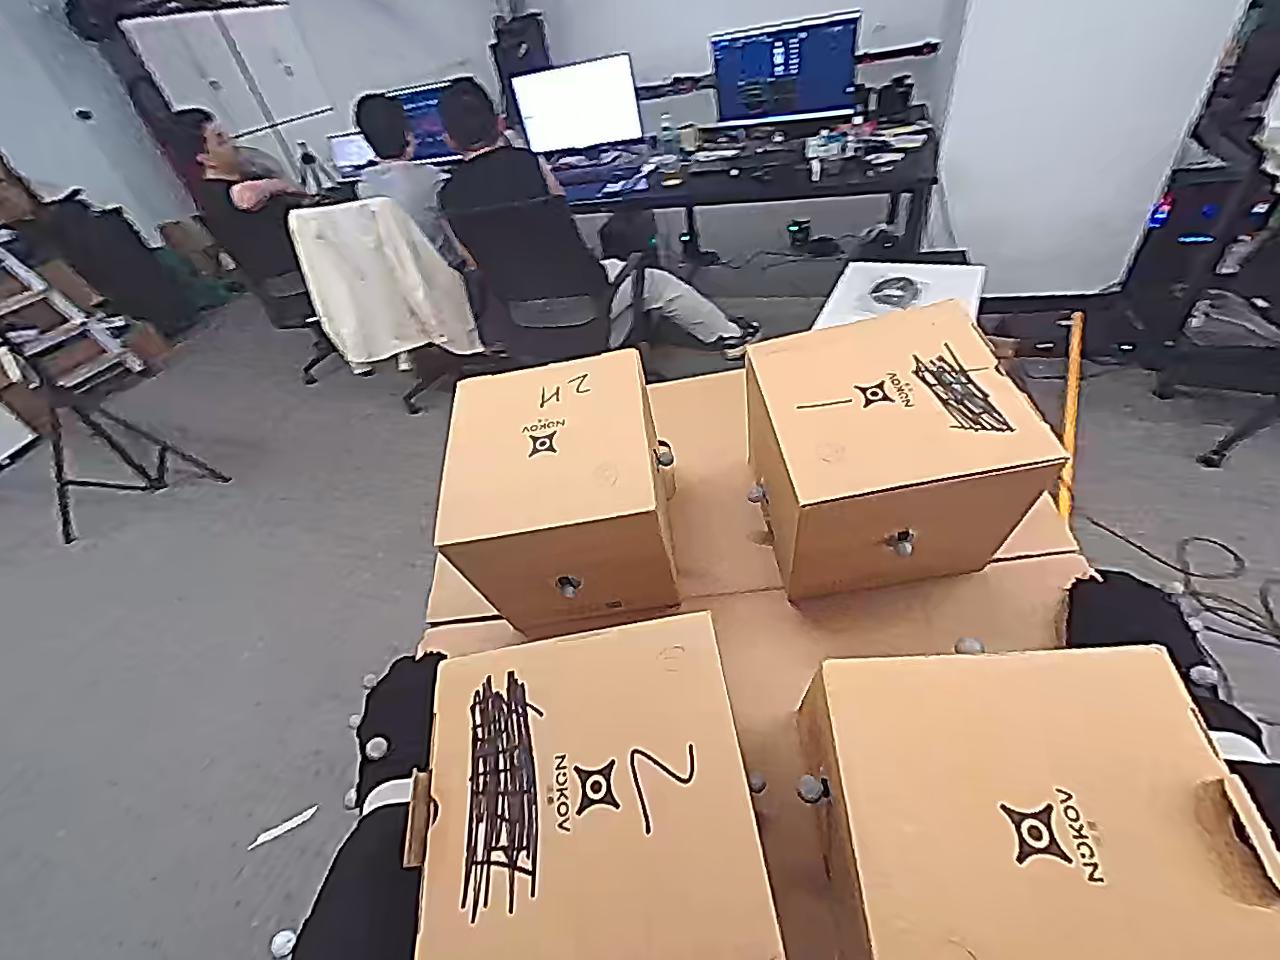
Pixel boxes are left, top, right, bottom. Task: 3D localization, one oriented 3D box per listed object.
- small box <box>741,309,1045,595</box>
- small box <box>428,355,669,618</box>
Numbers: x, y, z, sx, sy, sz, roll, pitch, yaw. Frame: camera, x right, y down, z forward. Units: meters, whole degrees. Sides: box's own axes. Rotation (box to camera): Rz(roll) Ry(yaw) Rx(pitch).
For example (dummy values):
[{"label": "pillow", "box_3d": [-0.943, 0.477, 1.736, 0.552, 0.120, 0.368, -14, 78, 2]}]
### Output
[{"label": "small box", "box_3d": [0.187, -0.015, 0.468, 0.179, 0.176, 0.168, -10, 55, 5]}, {"label": "small box", "box_3d": [-0.069, 0.016, 0.500, 0.168, 0.176, 0.179, -9, 54, 4]}]
